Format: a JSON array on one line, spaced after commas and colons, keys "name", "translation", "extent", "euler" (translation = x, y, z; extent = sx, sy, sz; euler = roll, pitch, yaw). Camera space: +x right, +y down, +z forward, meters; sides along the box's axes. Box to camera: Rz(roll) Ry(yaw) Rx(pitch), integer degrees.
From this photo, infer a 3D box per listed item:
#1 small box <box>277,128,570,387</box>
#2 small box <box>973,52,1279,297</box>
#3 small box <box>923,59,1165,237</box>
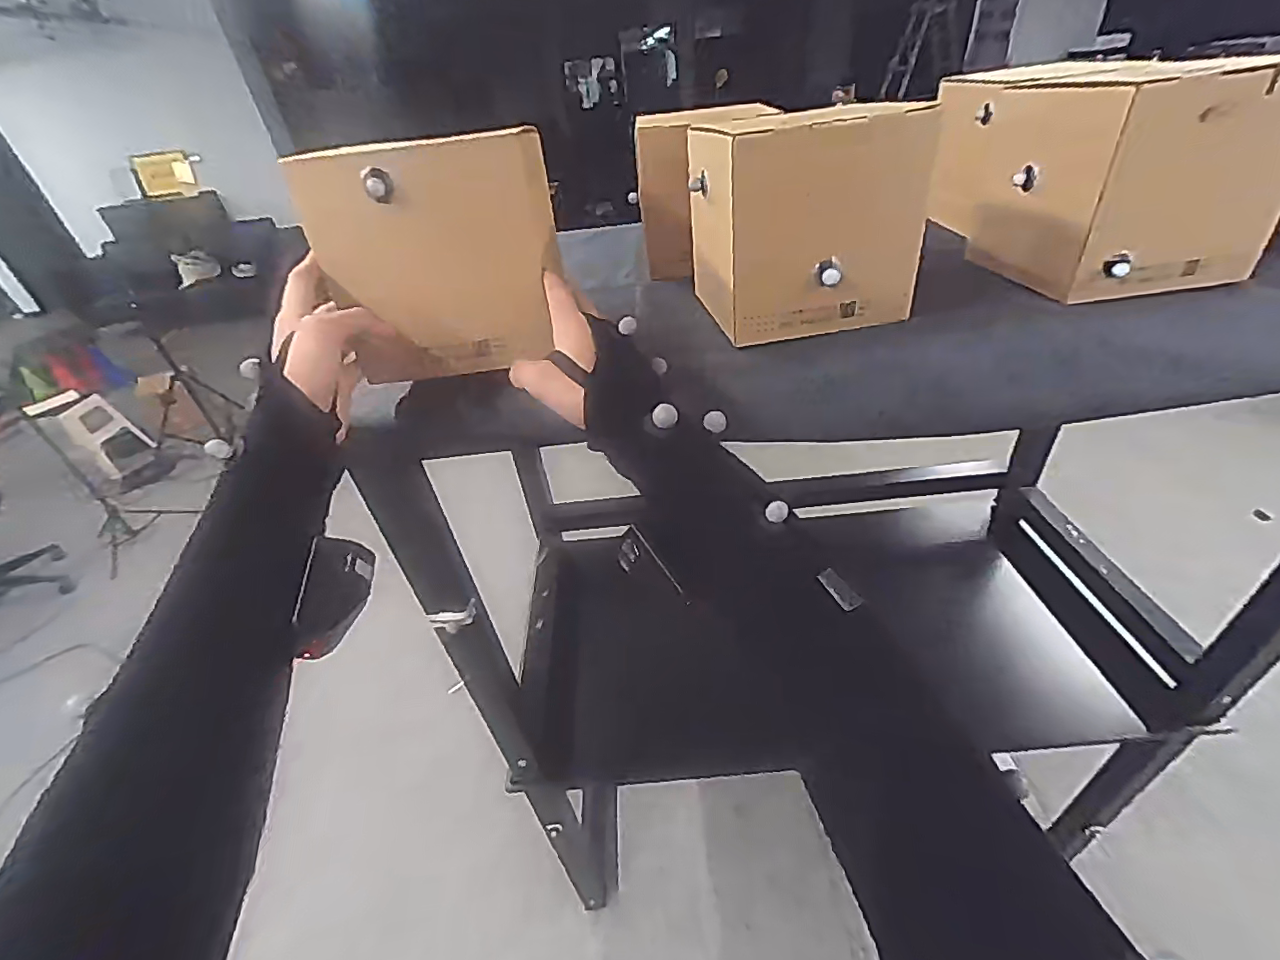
[{"name": "small box", "translation": [-0.158, -0.196, 0.471], "extent": [0.168, 0.176, 0.179], "euler": [-8, 33, 1]}, {"name": "small box", "translation": [0.453, -0.279, 0.506], "extent": [0.168, 0.176, 0.179], "euler": [-7, 35, 1]}, {"name": "small box", "translation": [0.489, -0.418, 0.686], "extent": [0.168, 0.176, 0.179], "euler": [-6, 38, 2]}]
